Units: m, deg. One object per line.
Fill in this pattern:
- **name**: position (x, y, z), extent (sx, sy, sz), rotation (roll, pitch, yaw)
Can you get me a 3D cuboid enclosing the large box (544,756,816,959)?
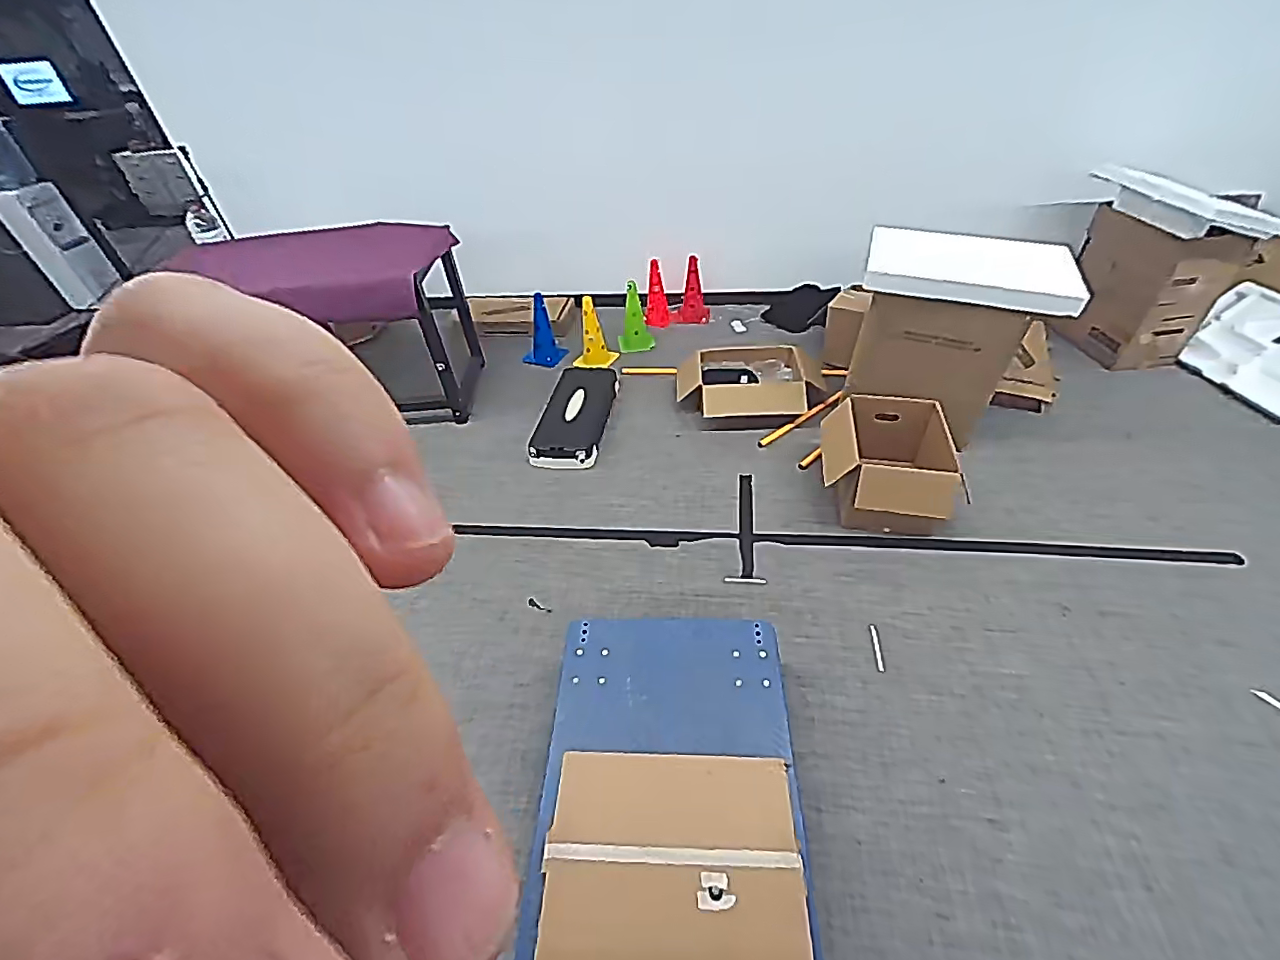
- **large box**: position (0.065, 0.723, 0.976), extent (0.408, 0.320, 0.320), rotation (0, 44, 4)
